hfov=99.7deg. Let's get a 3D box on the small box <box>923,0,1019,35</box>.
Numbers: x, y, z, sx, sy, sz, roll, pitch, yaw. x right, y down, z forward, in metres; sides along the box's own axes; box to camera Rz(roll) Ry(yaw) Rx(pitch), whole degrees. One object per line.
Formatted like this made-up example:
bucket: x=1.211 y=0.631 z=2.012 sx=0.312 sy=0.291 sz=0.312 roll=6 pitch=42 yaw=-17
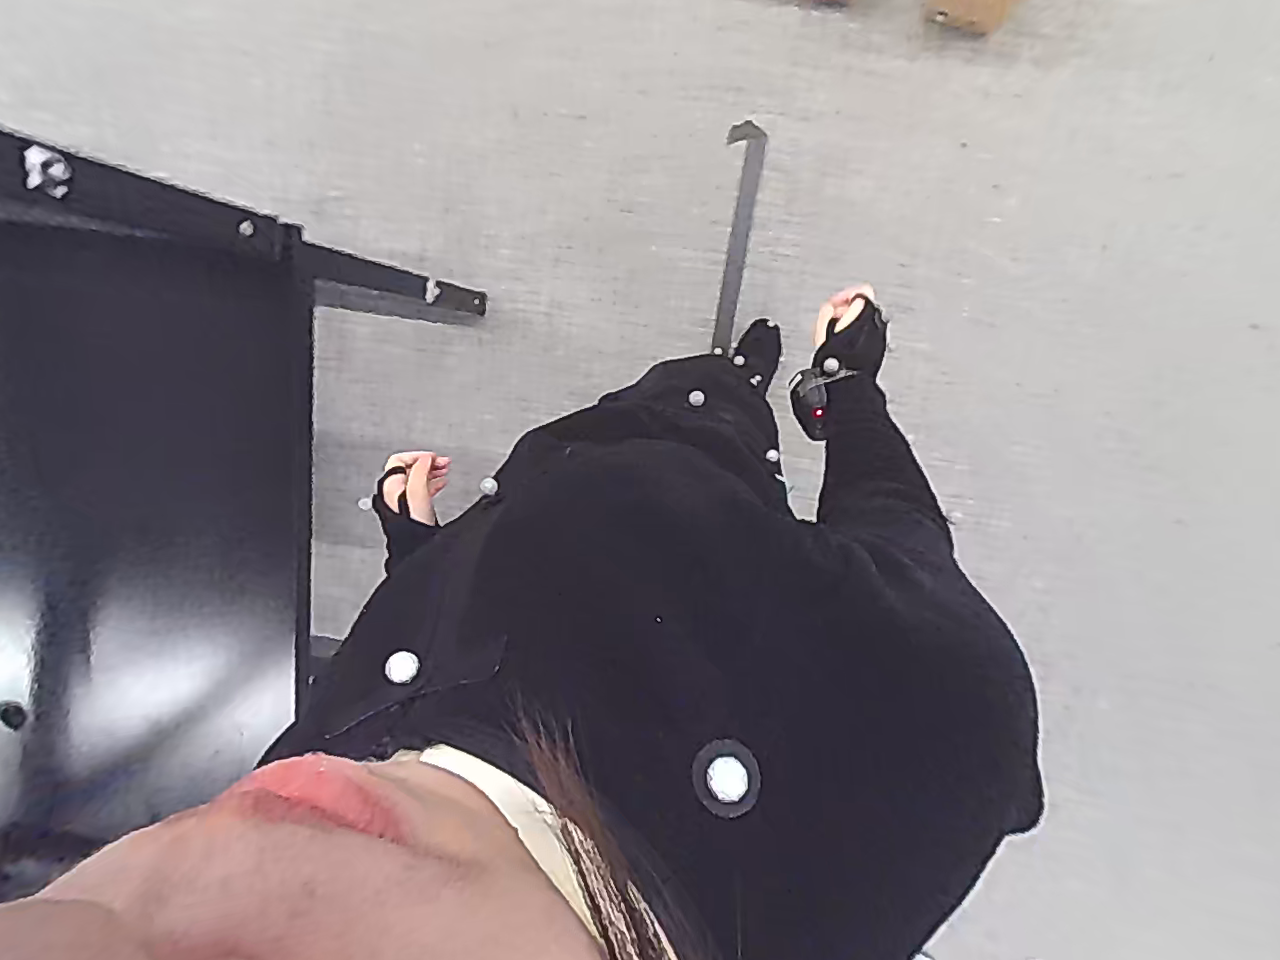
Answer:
small box: x=0.717 y=-1.072 z=1.113 sx=0.168 sy=0.176 sz=0.179 roll=14 pitch=102 yaw=0
